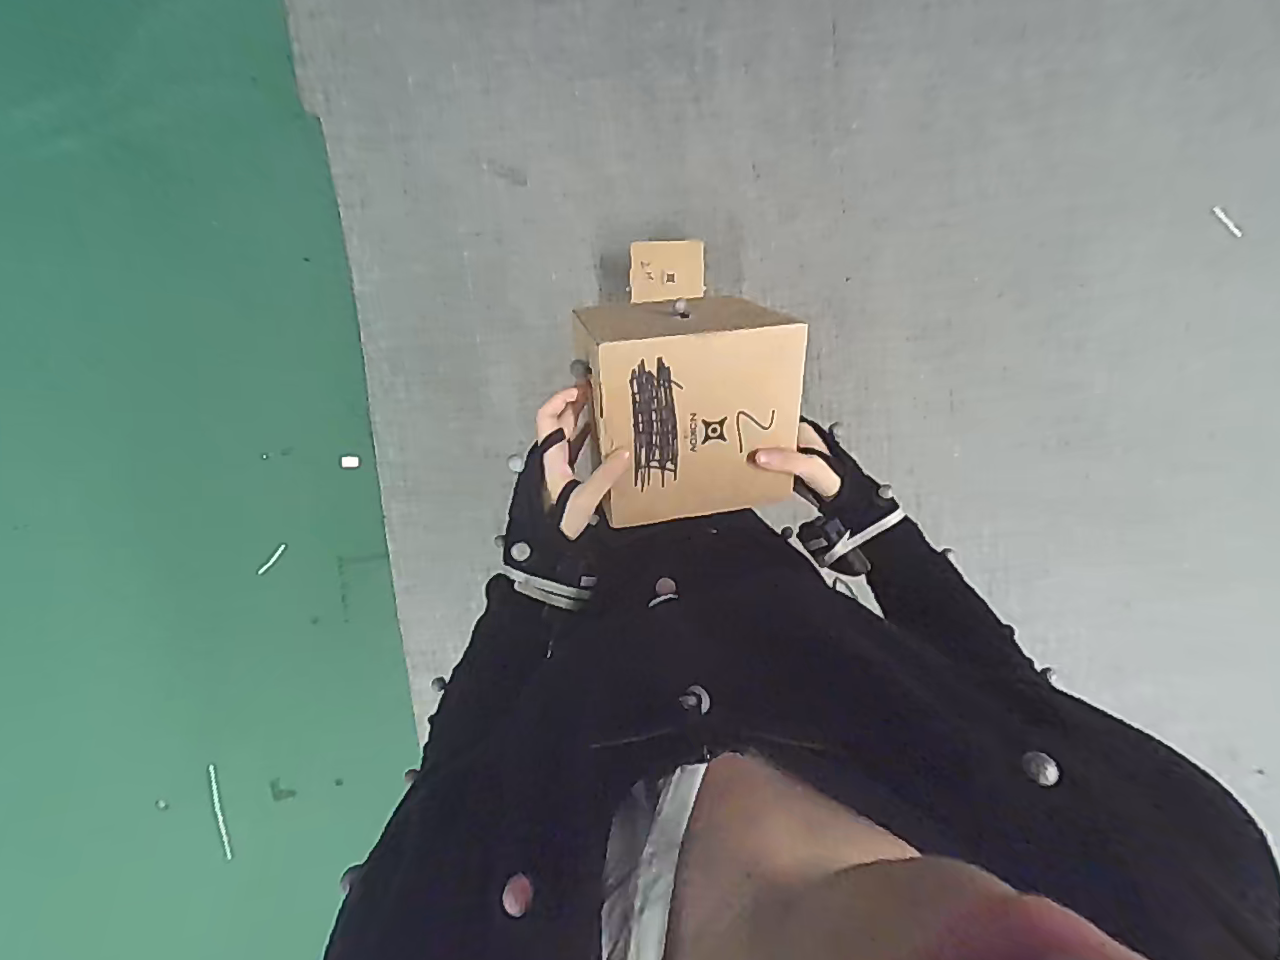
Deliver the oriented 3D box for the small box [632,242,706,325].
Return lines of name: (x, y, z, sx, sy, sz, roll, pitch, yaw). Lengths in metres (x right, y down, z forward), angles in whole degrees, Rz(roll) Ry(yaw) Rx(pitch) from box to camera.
small box: (0.069, -0.486, 1.352, 0.179, 0.176, 0.168, 0, 97, 2)
